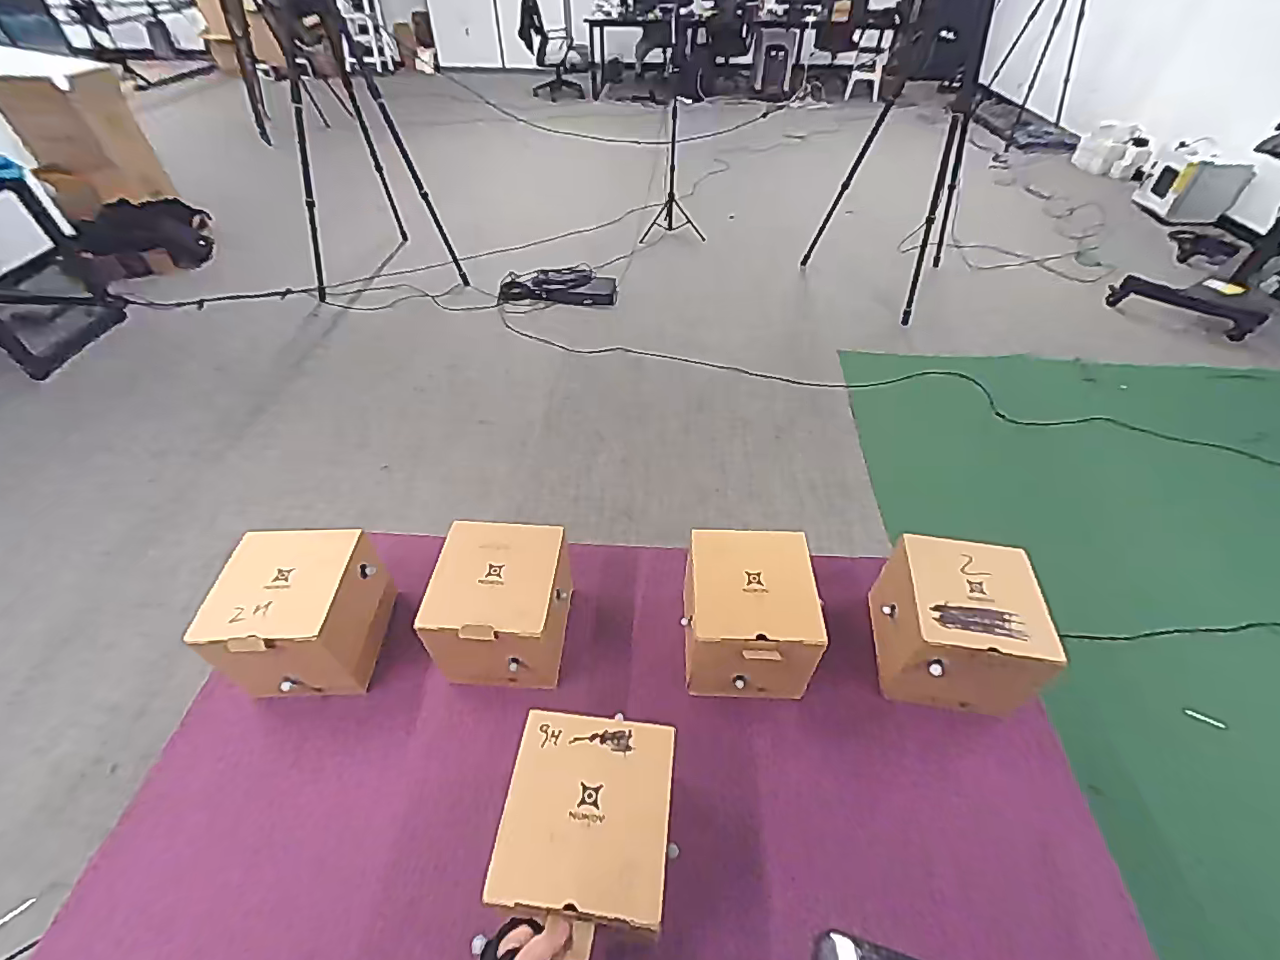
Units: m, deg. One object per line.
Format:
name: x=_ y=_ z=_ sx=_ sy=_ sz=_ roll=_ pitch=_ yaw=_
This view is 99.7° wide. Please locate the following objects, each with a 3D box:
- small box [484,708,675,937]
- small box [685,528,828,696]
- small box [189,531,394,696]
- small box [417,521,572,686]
small box: x=-0.052 y=0.380 z=0.598 sx=0.168 sy=0.176 sz=0.179 roll=5 pitch=46 yaw=5
small box: x=0.154 y=0.190 z=0.782 sx=0.168 sy=0.176 sz=0.179 roll=1 pitch=46 yaw=1
small box: x=-0.477 y=0.192 z=0.781 sx=0.168 sy=0.176 sz=0.179 roll=-1 pitch=46 yaw=-1
small box: x=-0.196 y=0.183 z=0.791 sx=0.168 sy=0.176 sz=0.179 roll=3 pitch=46 yaw=2
